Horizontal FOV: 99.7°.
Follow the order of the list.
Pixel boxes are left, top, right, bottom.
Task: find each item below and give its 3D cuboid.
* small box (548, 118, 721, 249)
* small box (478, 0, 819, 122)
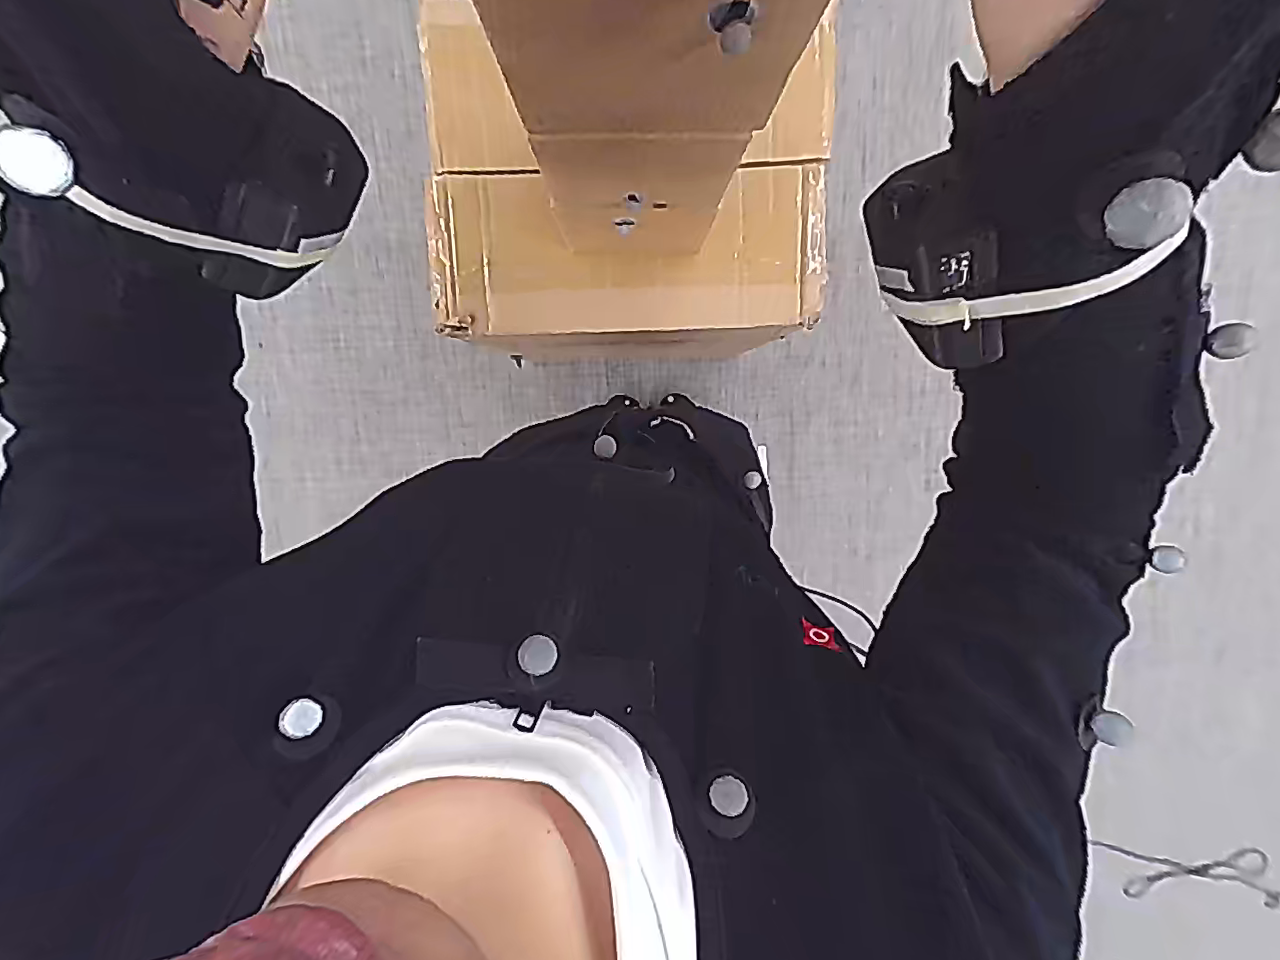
[{"bbox_3d":[-0.006,-0.372,0.620,0.179,0.176,0.168,0,99,-1],"label":"small box"},{"bbox_3d":[0.005,-0.323,0.294,0.179,0.176,0.168,-1,99,0],"label":"small box"}]
